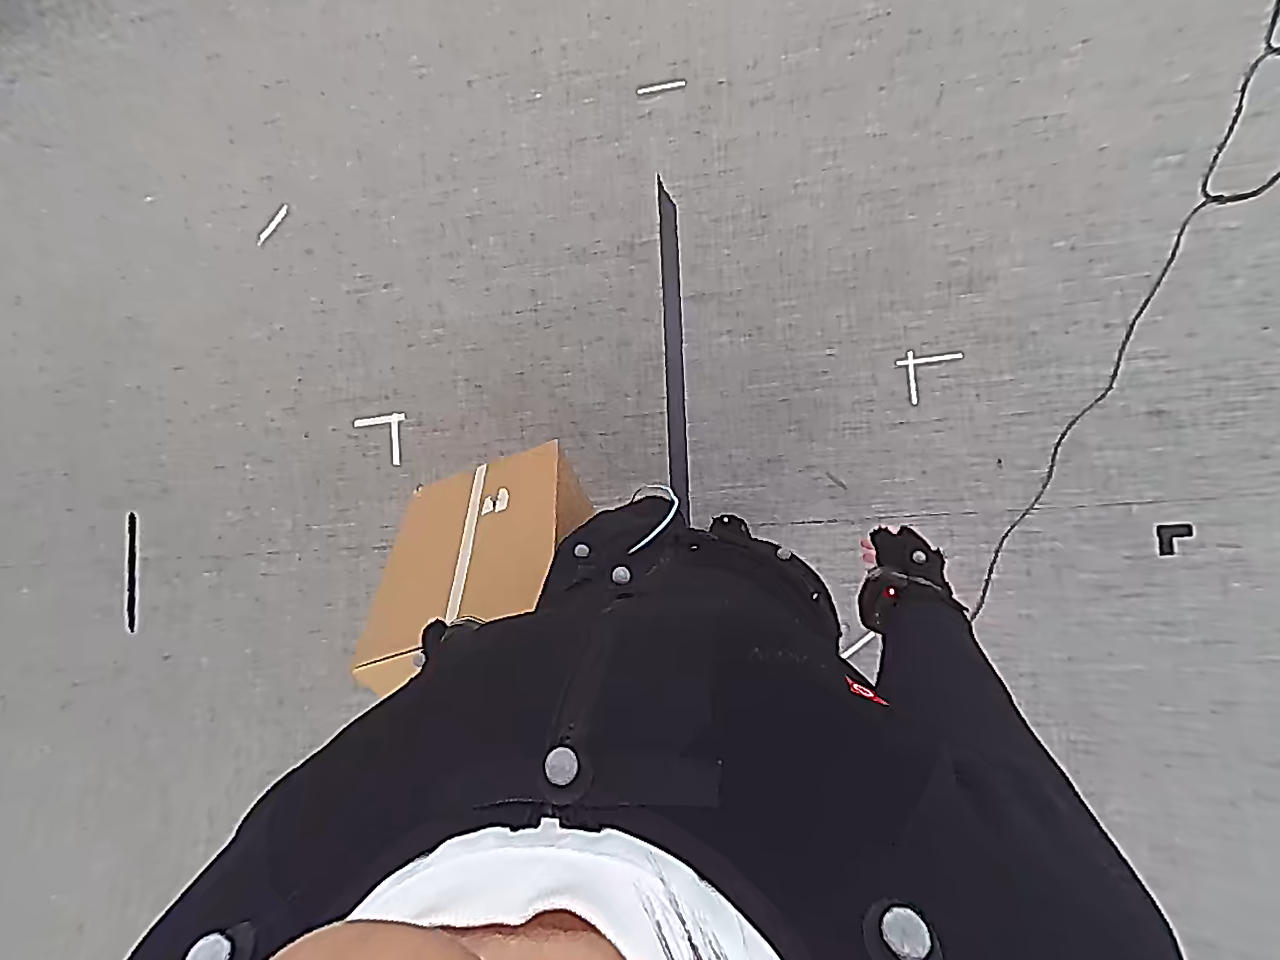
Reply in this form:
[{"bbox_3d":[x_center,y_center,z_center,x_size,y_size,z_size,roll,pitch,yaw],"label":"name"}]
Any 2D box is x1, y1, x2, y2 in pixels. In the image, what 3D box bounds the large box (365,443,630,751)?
[{"bbox_3d":[-0.227,0.204,0.994,0.320,0.320,0.408,-18,38,6],"label":"large box"}]
